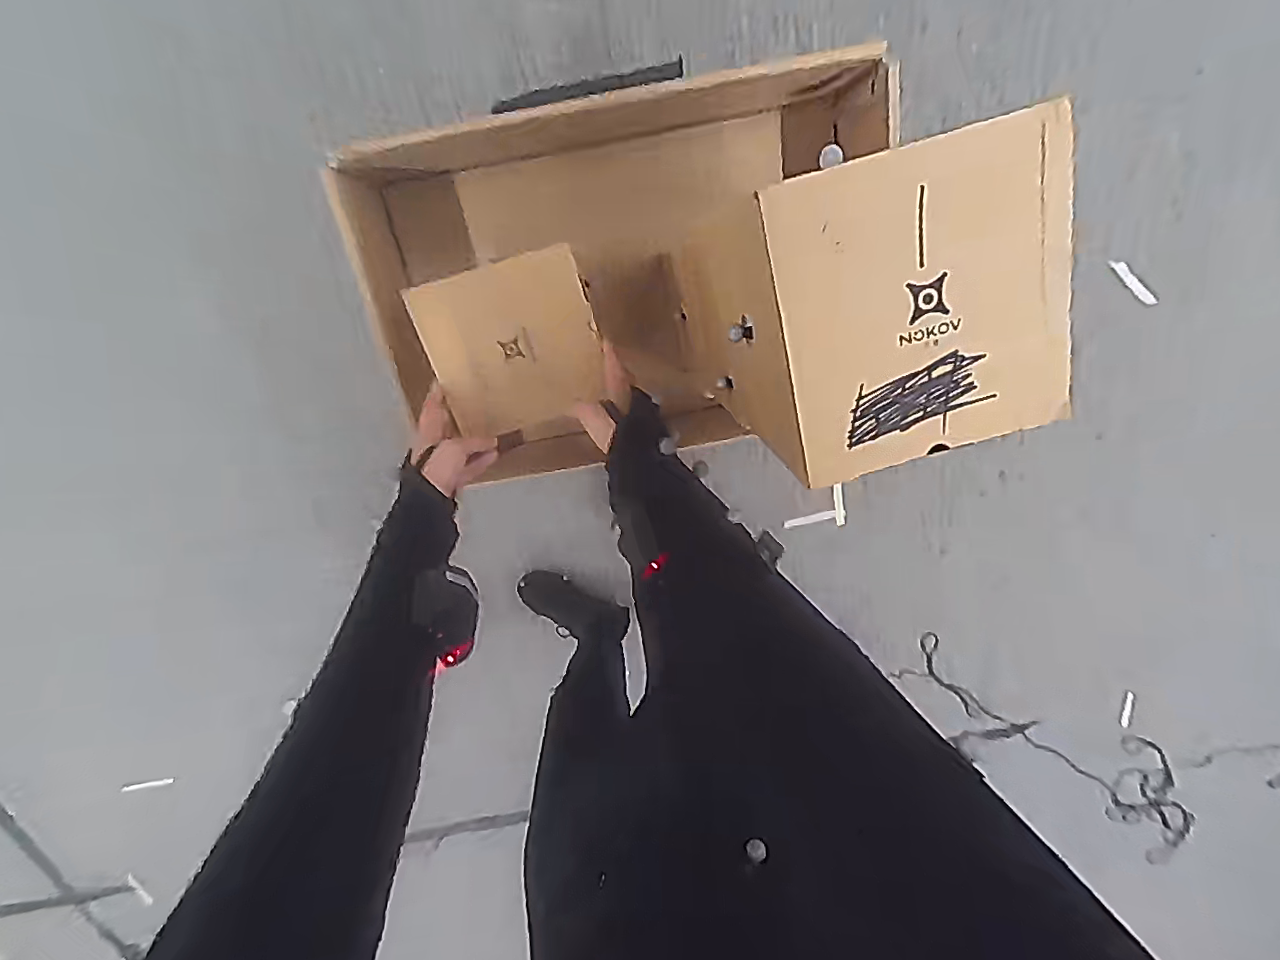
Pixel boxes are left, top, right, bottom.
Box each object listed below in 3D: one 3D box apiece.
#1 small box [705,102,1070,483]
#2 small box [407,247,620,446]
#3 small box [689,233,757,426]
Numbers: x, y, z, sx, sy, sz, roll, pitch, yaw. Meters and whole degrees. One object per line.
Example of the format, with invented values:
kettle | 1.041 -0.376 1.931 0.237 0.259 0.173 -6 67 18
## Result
small box | 0.154 -0.124 0.381 0.168 0.176 0.179 -16 111 1
small box | -0.133 -0.160 0.624 0.179 0.176 0.168 -16 111 1
small box | 0.152 -0.172 0.539 0.168 0.176 0.179 -13 112 1
